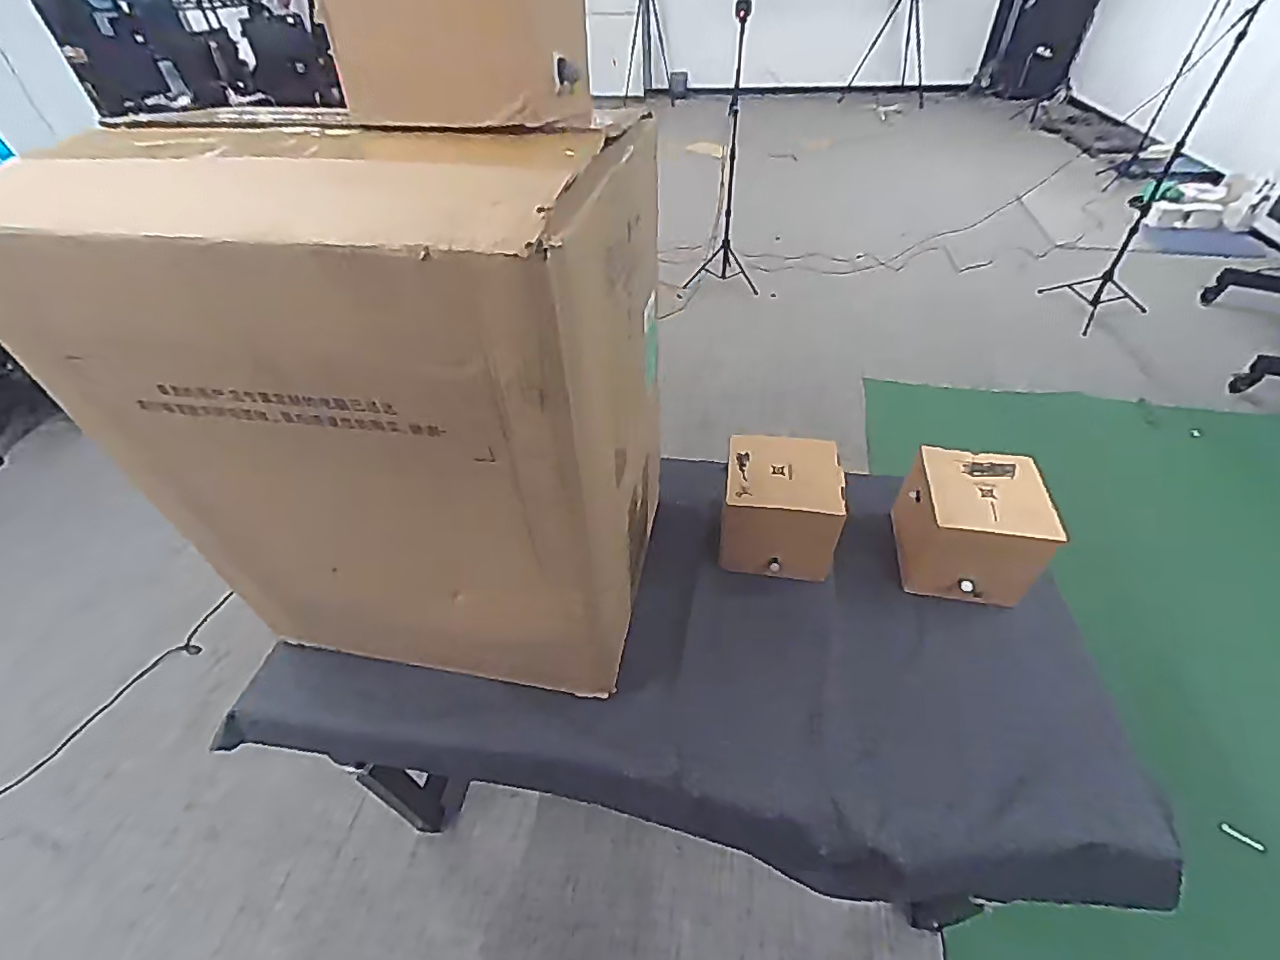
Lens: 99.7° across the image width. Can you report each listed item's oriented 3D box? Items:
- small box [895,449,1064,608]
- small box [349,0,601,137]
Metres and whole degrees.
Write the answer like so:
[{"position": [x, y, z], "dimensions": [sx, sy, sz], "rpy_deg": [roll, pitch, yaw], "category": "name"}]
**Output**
[{"position": [0.524, 0.076, 0.868], "dimensions": [0.168, 0.176, 0.179], "rpy_deg": [7, 46, 11], "category": "small box"}, {"position": [-0.141, -0.415, 0.485], "dimensions": [0.179, 0.176, 0.168], "rpy_deg": [8, 40, 9], "category": "small box"}]
